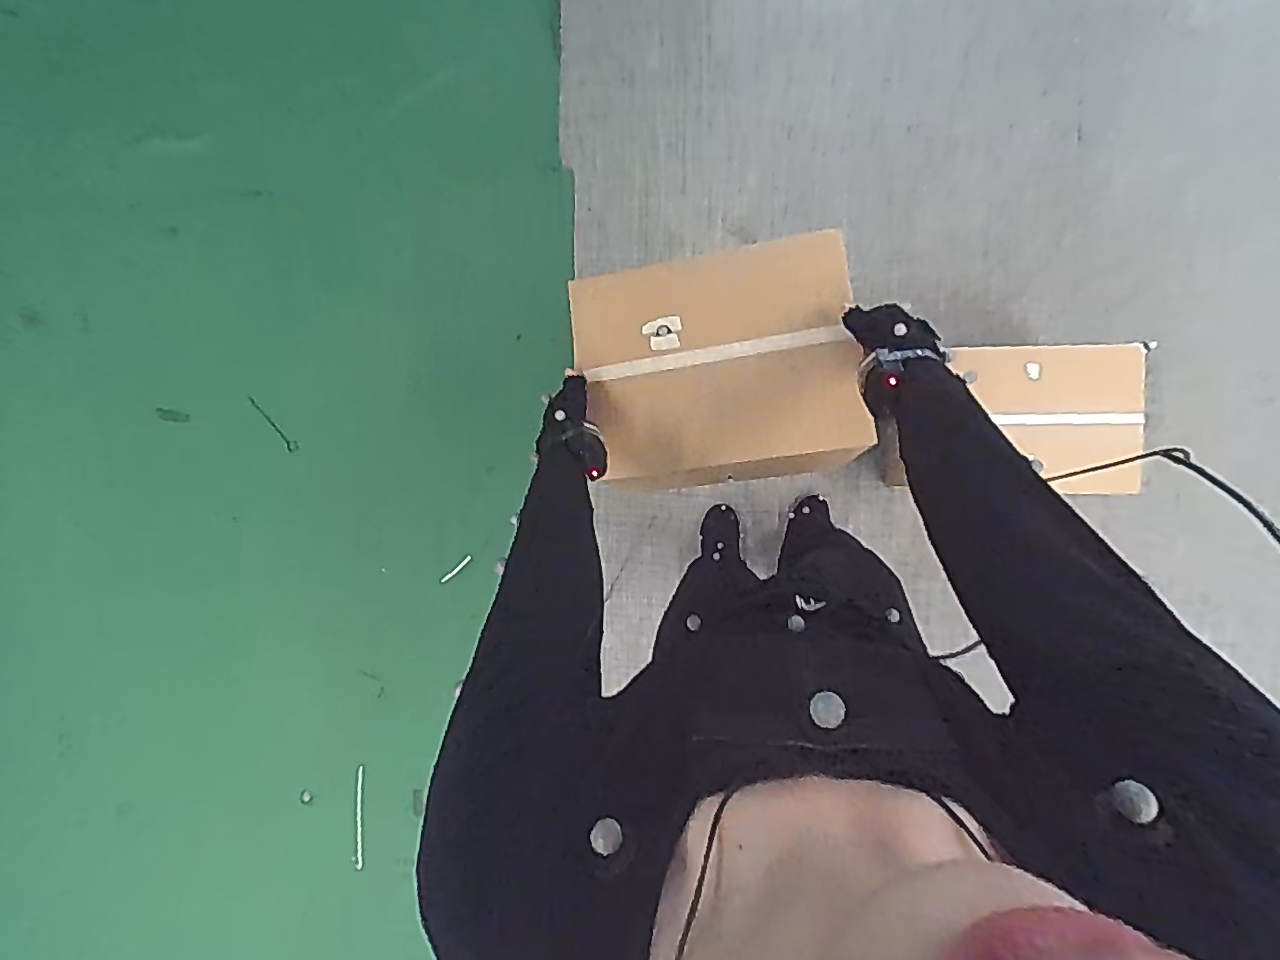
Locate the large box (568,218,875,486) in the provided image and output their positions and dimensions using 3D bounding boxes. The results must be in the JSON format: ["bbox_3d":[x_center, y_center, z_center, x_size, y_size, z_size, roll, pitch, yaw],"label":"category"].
[{"bbox_3d":[0.132,-0.174,0.912,0.408,0.320,0.320,-8,83,11],"label":"large box"}]
